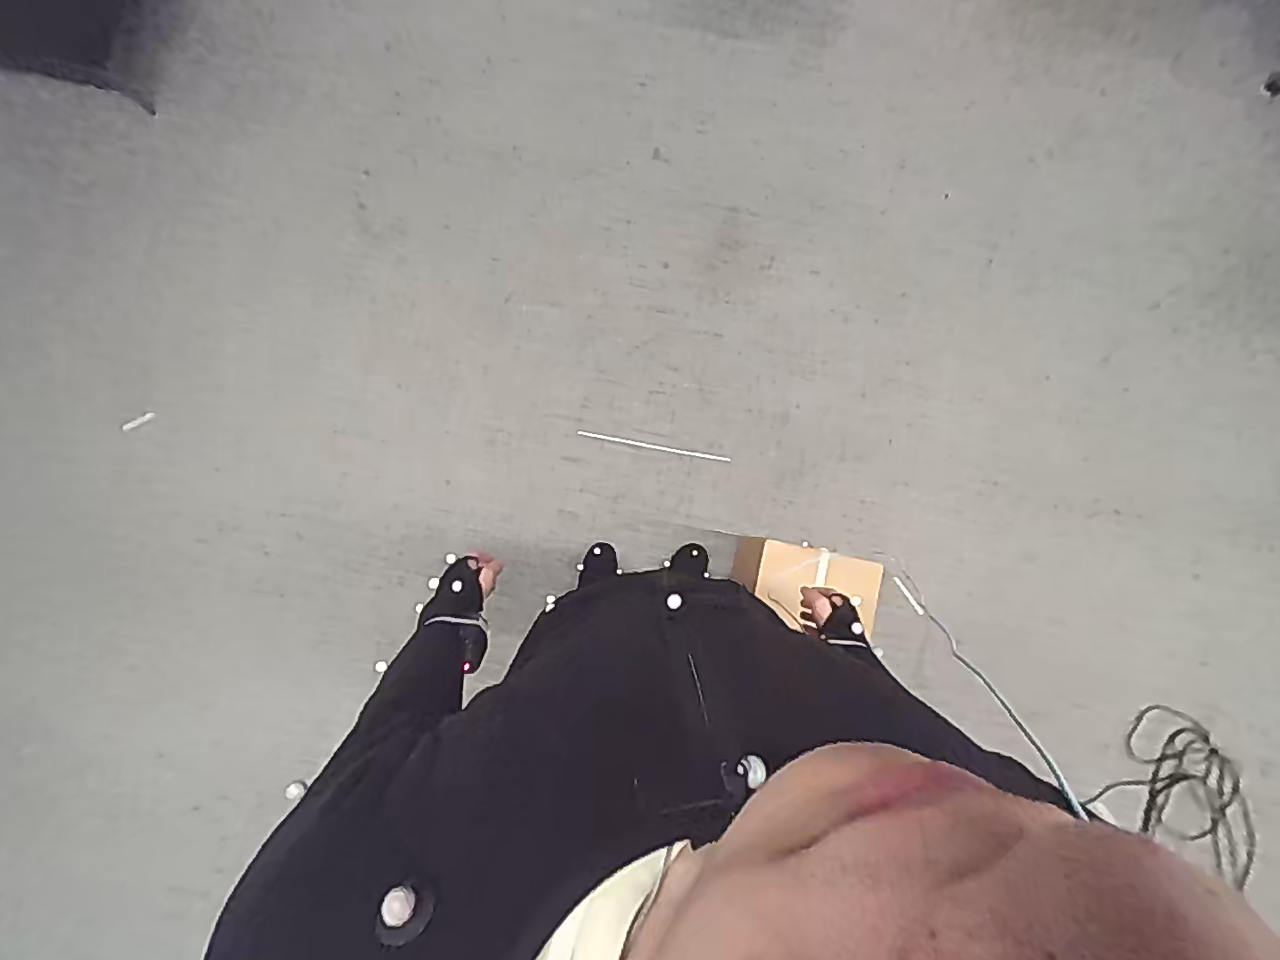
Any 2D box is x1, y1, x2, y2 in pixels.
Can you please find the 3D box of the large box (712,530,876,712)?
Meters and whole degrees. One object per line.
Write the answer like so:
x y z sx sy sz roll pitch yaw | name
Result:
0.411 0.366 1.508 0.320 0.320 0.408 12 86 -1 | large box
